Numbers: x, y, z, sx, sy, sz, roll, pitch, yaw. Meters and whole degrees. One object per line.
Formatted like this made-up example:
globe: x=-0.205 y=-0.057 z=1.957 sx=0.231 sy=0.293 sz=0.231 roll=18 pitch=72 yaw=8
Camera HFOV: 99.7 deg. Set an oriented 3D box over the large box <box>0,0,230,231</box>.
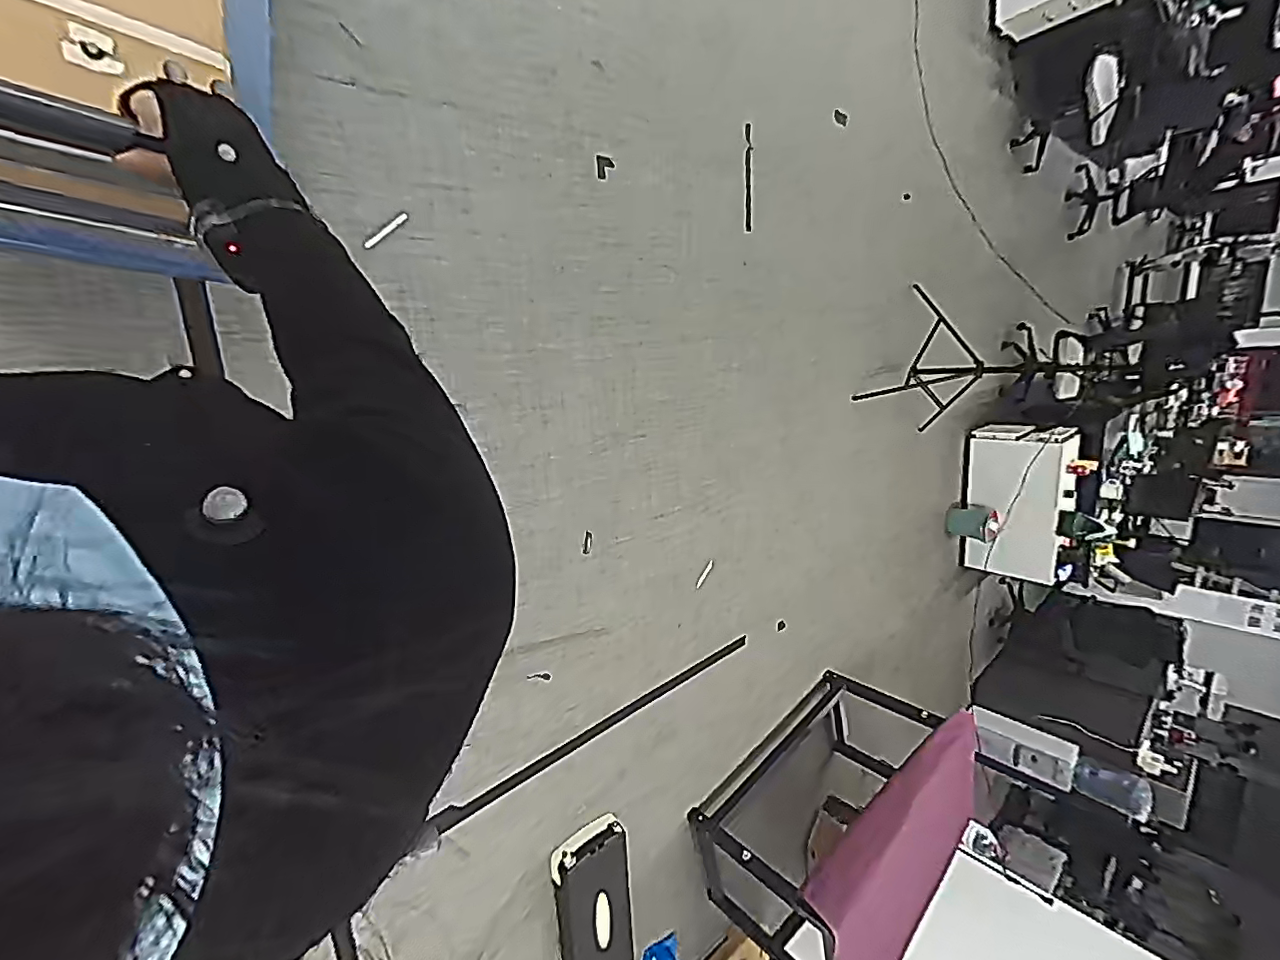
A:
large box: x=-0.837 y=-0.588 z=0.749 sx=0.408 sy=0.320 sz=0.320 roll=-2 pitch=98 yaw=-42
